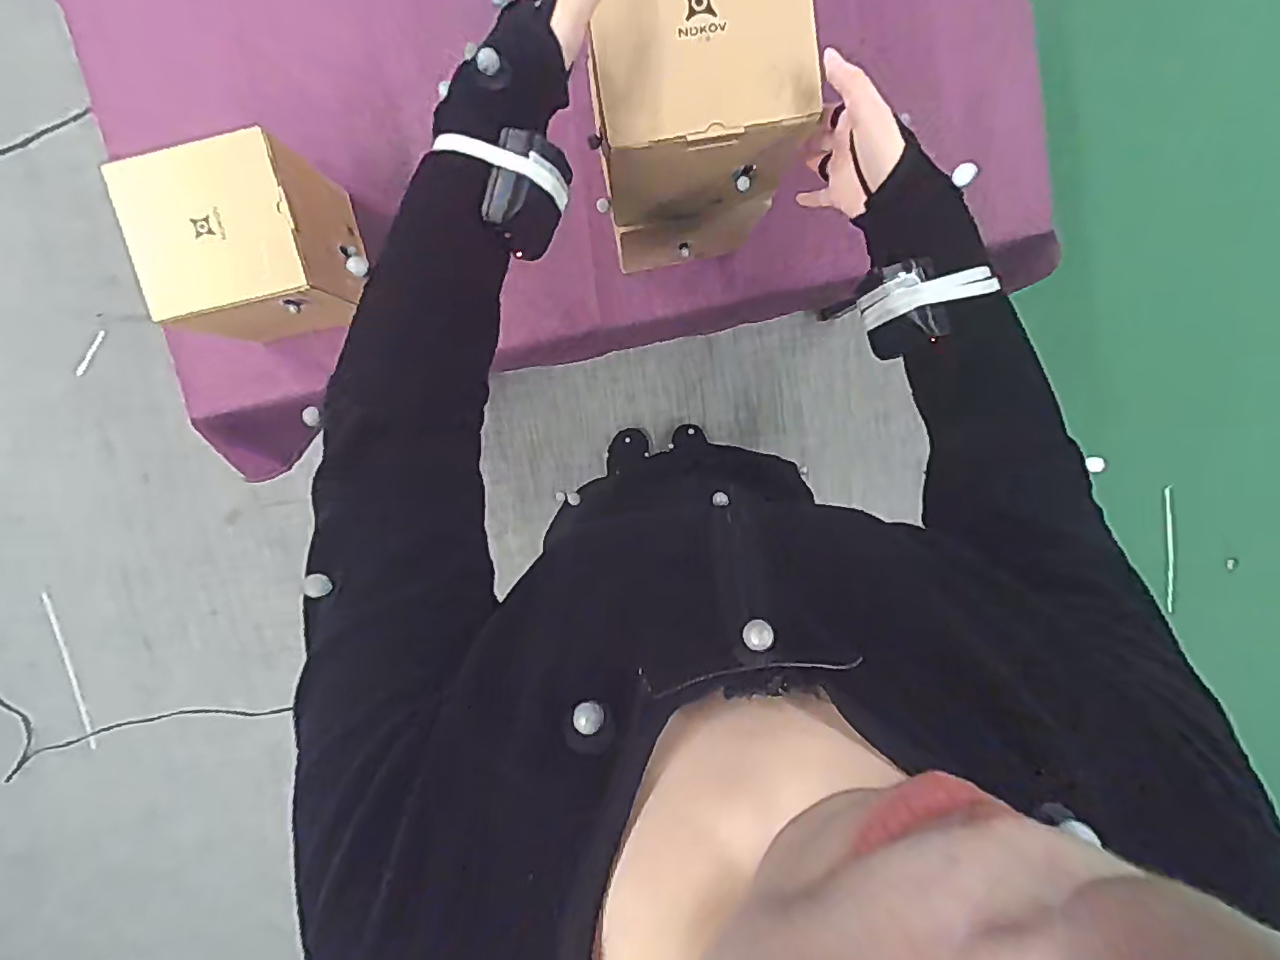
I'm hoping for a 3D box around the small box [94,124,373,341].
[{"bbox_3d":[-0.458,-0.272,0.639,0.179,0.176,0.168,-15,97,1],"label":"small box"}]

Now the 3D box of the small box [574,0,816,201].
[{"bbox_3d":[0.035,-0.362,0.463,0.168,0.176,0.179,-10,97,1],"label":"small box"}]

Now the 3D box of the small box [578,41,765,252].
[{"bbox_3d":[0.034,-0.380,0.626,0.168,0.176,0.179,-12,98,1],"label":"small box"}]
